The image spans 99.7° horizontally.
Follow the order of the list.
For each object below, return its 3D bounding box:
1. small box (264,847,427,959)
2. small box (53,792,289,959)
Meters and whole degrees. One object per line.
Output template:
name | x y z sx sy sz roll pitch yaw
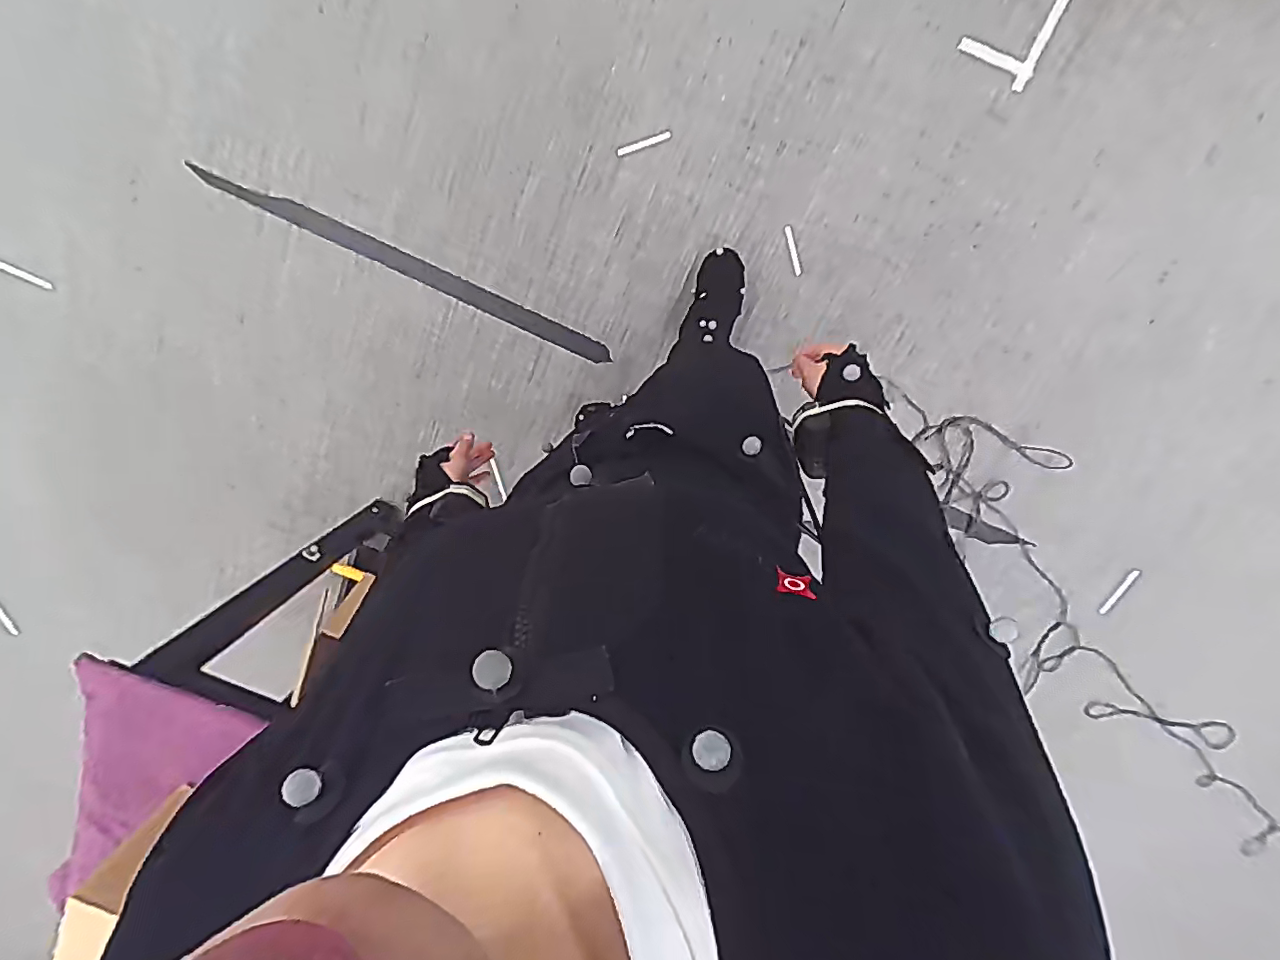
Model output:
small box | -0.440 0.693 0.791 0.168 0.176 0.179 26 108 -6
small box | -0.657 0.589 0.773 0.179 0.176 0.168 28 109 -6
